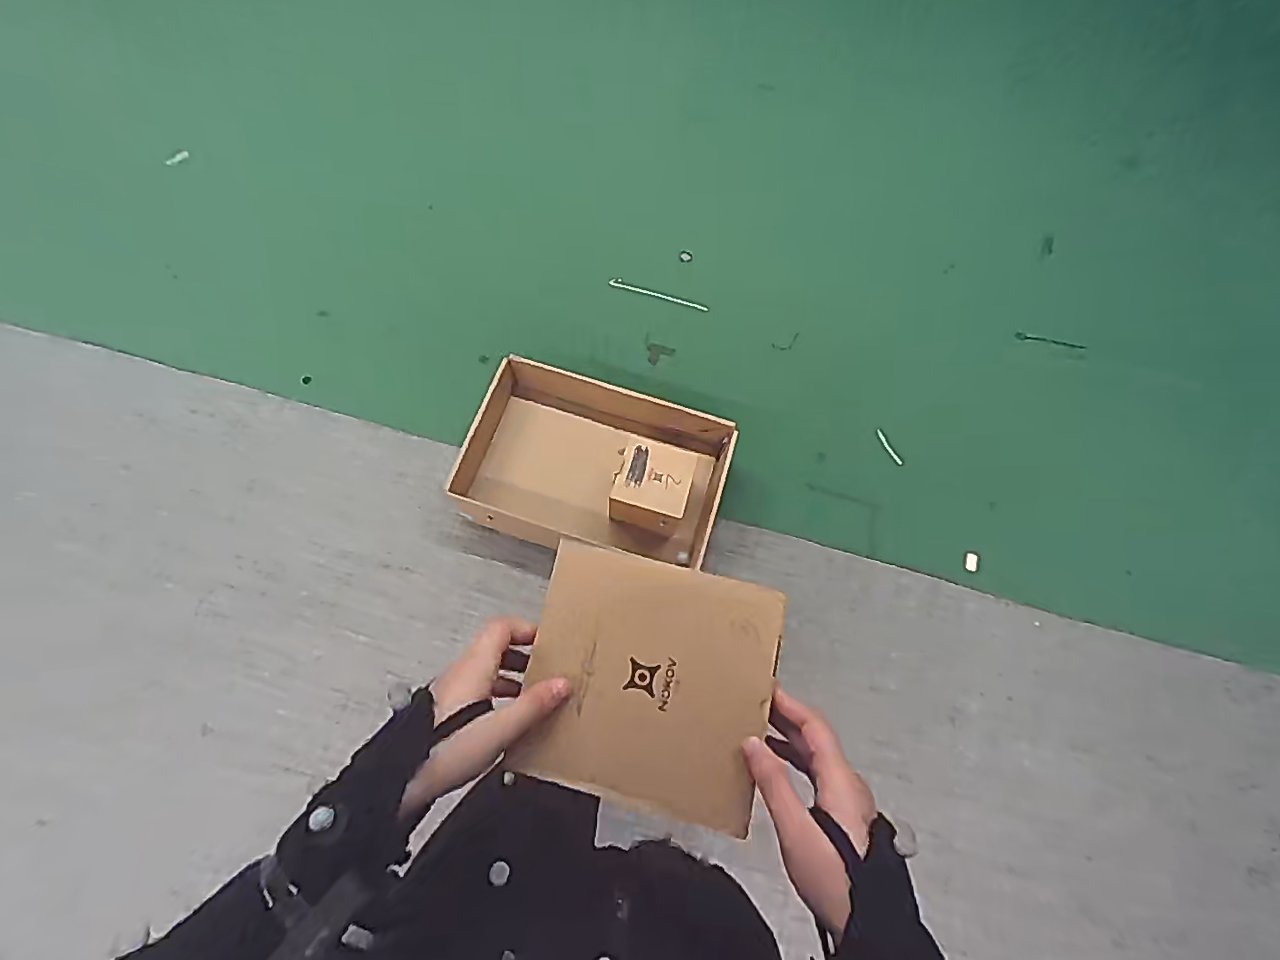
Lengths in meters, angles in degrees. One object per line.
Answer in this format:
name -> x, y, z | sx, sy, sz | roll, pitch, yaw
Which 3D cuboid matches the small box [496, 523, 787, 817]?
small box -> 0.009, 0.145, 0.457 | 0.179, 0.176, 0.168 | 12, 77, 8
